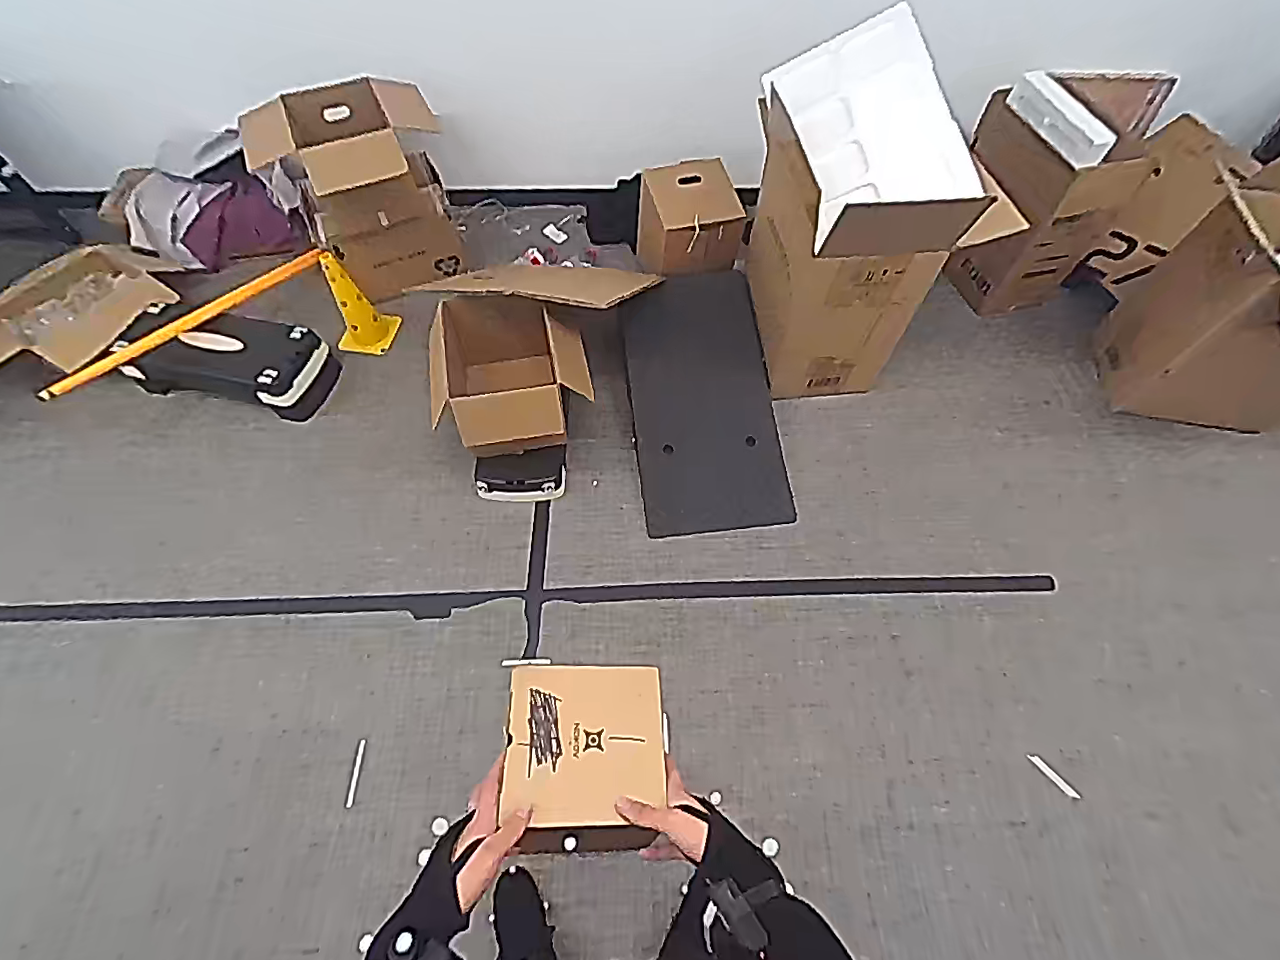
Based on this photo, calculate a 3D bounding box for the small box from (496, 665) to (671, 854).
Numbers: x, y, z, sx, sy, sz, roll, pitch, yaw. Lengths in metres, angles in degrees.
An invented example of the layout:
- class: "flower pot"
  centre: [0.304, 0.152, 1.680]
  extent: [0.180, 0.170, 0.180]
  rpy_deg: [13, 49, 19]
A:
- class: "small box"
  centre: [-0.066, 0.334, 0.643]
  extent: [0.179, 0.176, 0.168]
  rpy_deg: [4, 49, -7]
